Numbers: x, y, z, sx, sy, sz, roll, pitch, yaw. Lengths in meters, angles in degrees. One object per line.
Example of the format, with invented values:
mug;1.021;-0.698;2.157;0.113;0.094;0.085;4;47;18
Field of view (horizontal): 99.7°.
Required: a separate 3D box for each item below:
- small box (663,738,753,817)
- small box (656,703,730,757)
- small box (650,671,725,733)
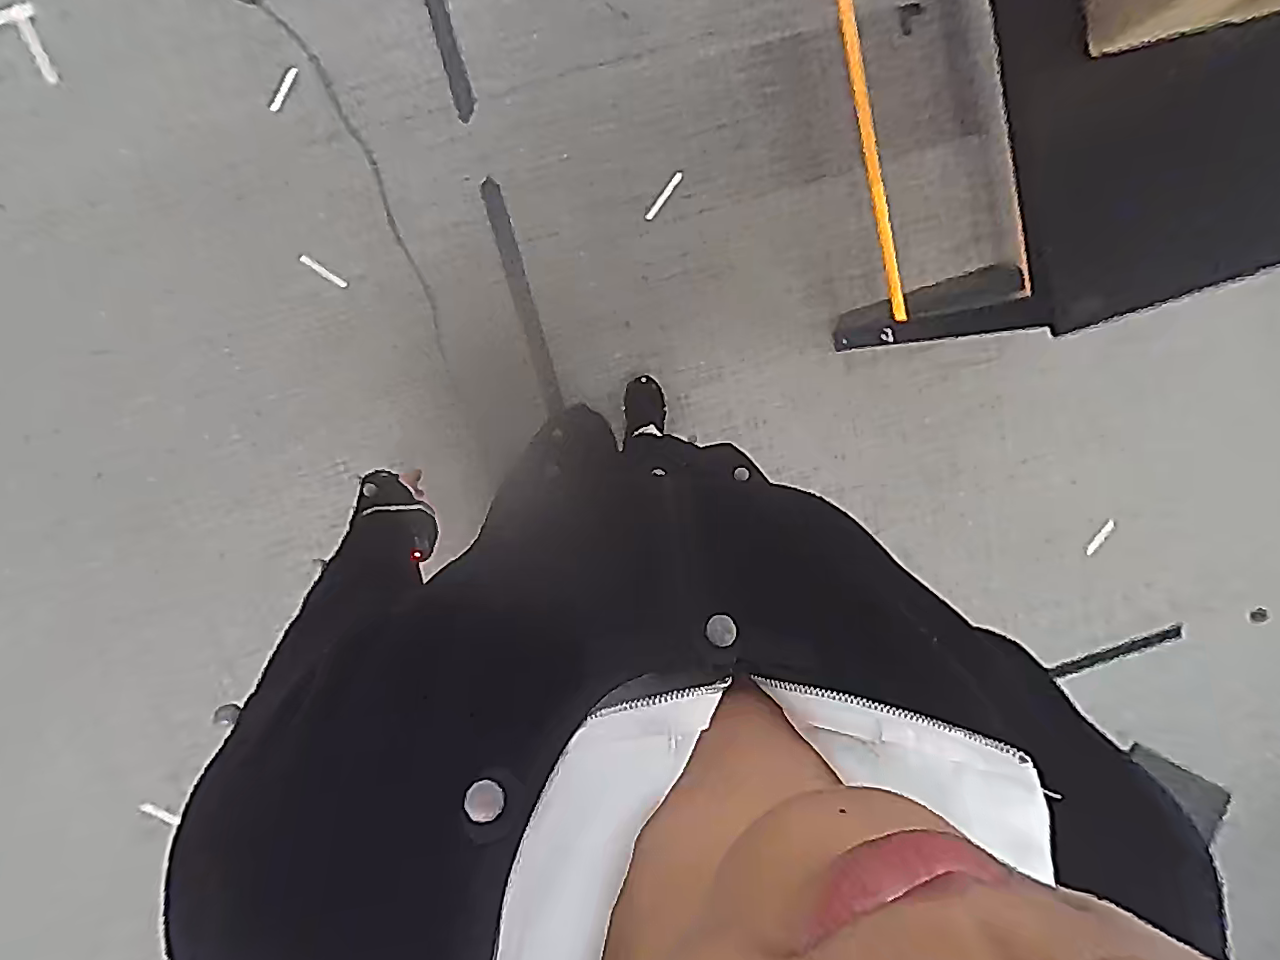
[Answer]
small box;0.157;0.732;1.237;0.168;0.176;0.179;-14;101;-4
small box;0.145;0.714;1.399;0.168;0.176;0.179;-13;102;-3
small box;0.135;0.677;1.559;0.179;0.176;0.168;-13;102;-3
